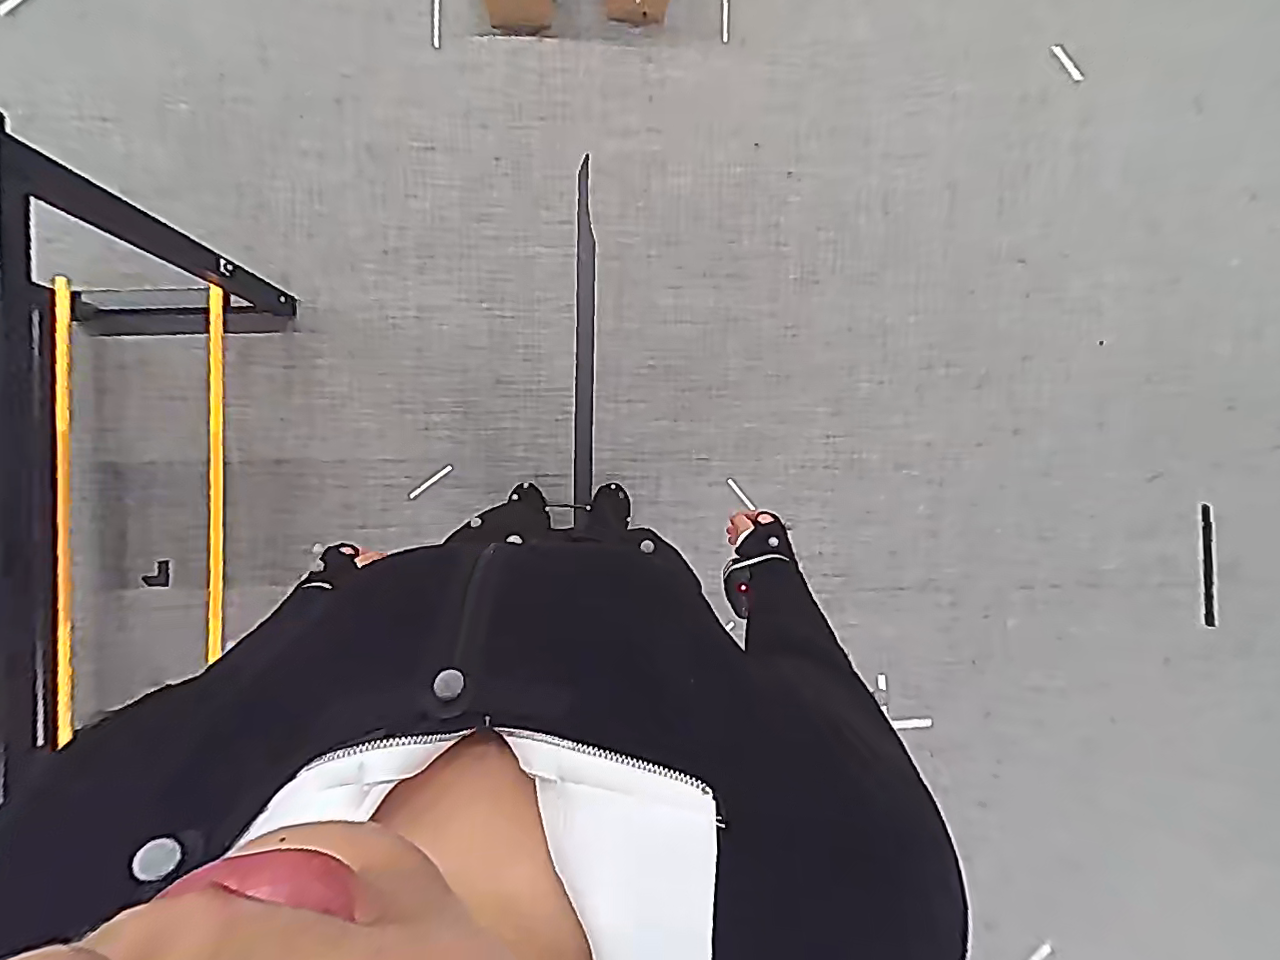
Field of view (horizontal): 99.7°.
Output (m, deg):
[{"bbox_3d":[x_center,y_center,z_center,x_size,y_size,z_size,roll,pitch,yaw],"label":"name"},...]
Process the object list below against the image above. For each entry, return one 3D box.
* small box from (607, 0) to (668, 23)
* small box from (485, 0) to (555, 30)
[{"bbox_3d":[-0.005,-1.367,1.439,0.168,0.176,0.179,0,90,-3],"label":"small box"},{"bbox_3d":[-0.323,-1.330,1.420,0.179,0.176,0.168,-2,90,-3],"label":"small box"}]
